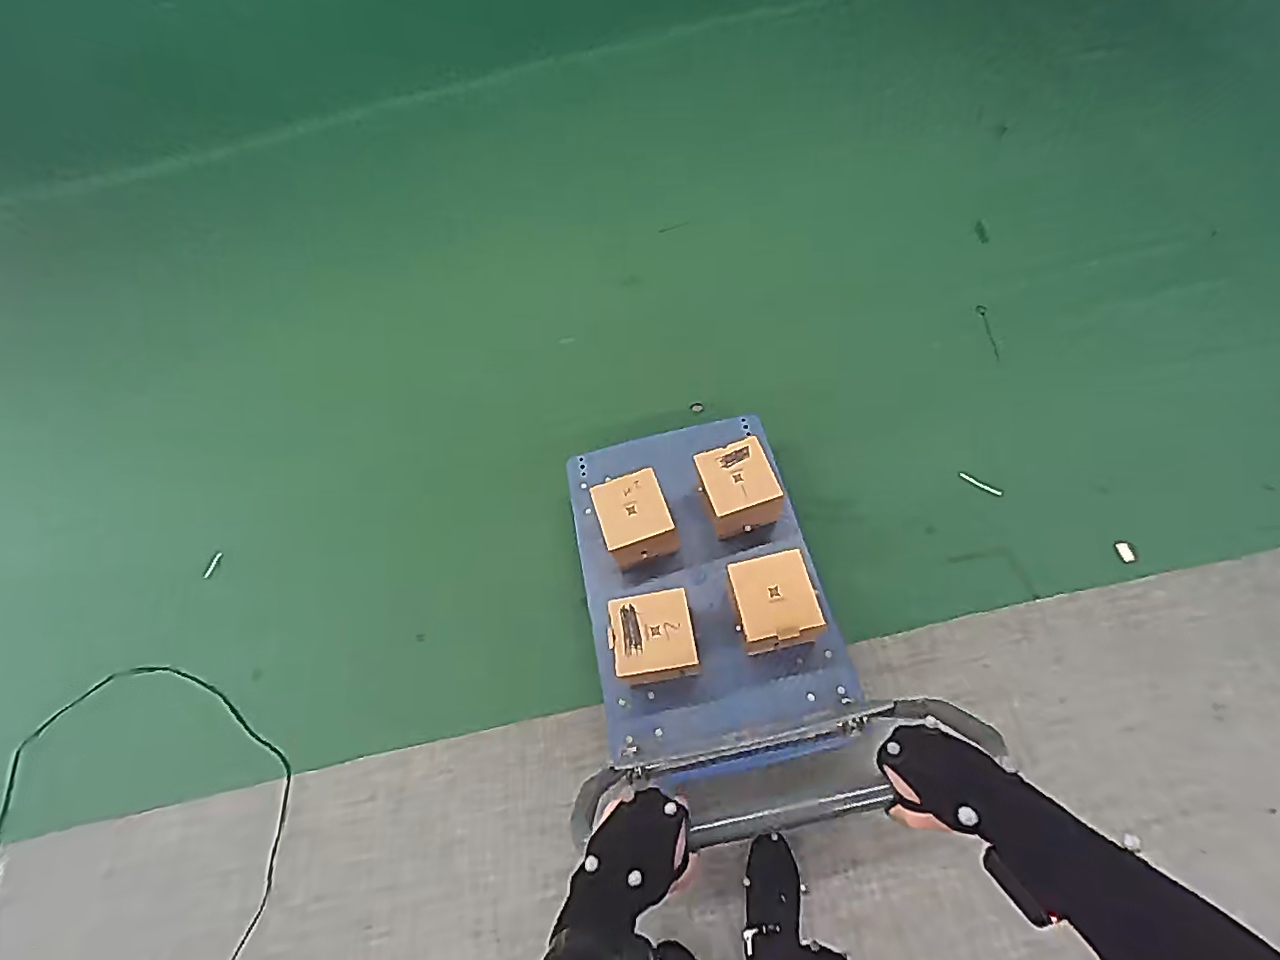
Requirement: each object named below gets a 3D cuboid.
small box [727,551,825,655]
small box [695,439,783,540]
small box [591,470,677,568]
[{"bbox_3d":[0.299,0.285,1.233,0.168,0.176,0.179,-13,63,1],"label":"small box"},{"bbox_3d":[0.243,0.029,1.365,0.168,0.176,0.179,-18,64,-1],"label":"small box"},{"bbox_3d":[-0.011,0.107,1.361,0.168,0.176,0.179,-19,63,-3],"label":"small box"}]
